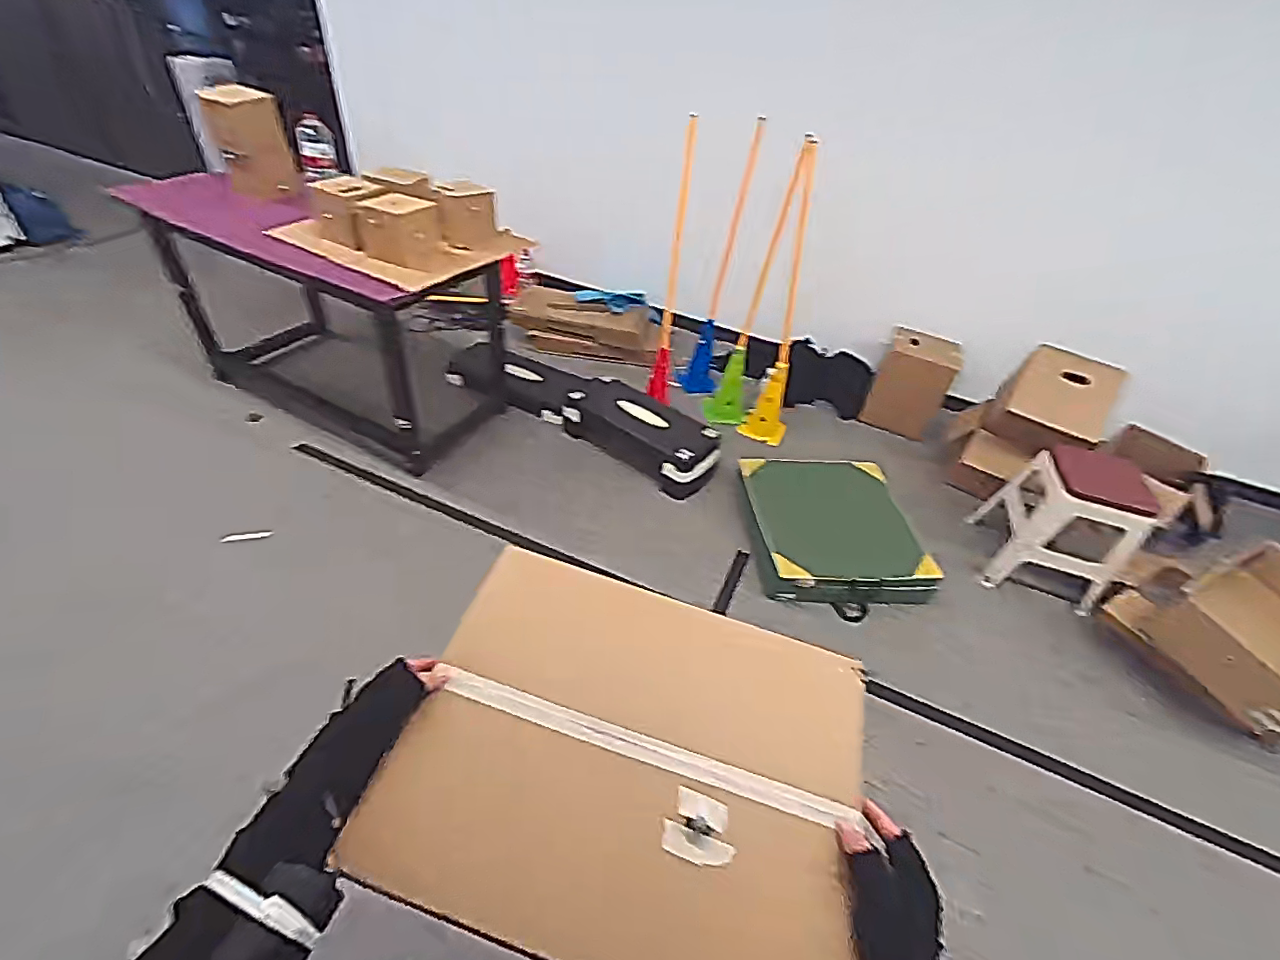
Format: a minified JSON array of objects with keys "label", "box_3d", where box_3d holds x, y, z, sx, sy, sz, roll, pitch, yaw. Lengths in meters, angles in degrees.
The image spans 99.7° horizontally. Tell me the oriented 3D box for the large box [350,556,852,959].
[{"label":"large box","box_3d":[-0.022,0.344,0.612,0.408,0.320,0.320,18,49,5]}]
